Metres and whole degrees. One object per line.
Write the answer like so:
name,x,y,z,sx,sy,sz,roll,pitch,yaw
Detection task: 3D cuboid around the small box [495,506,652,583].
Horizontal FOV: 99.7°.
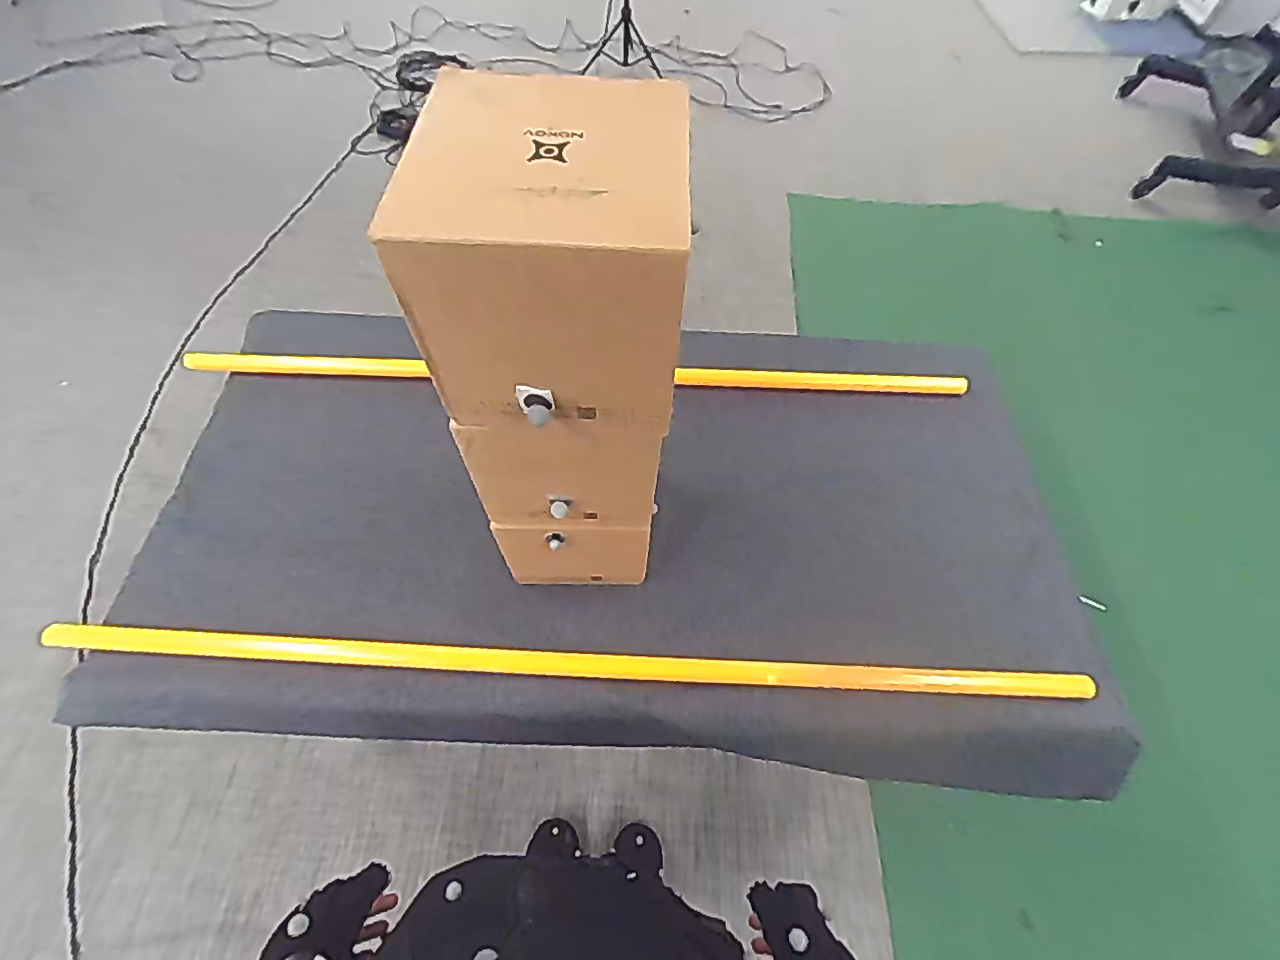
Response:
small box,-0.072,0.015,0.670,0.168,0.176,0.179,0,59,-1

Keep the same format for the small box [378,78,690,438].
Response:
small box,-0.055,-0.151,0.390,0.168,0.176,0.179,1,61,0

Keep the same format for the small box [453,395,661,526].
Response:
small box,-0.066,-0.072,0.531,0.168,0.176,0.179,2,60,-1
